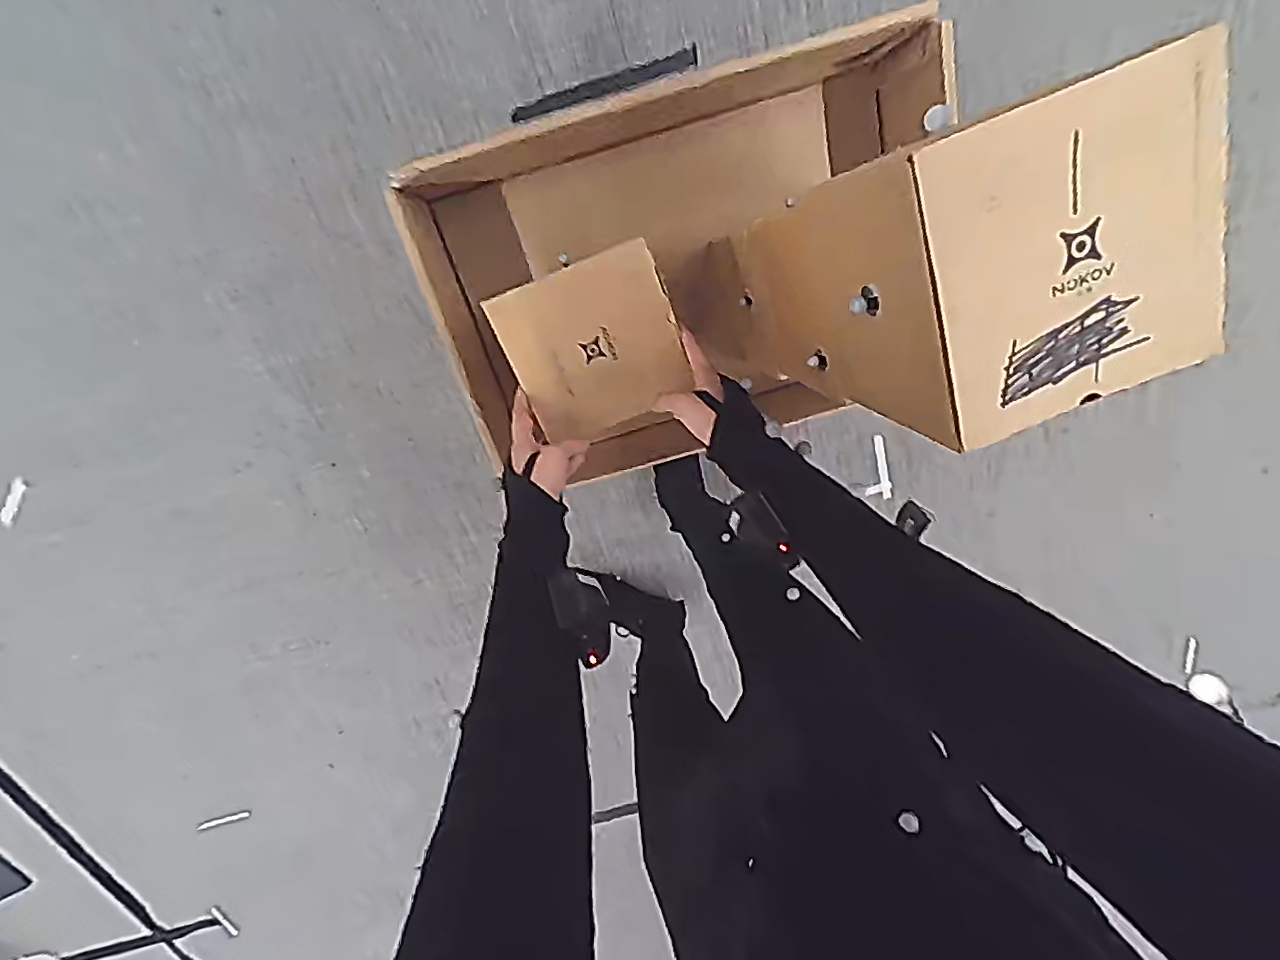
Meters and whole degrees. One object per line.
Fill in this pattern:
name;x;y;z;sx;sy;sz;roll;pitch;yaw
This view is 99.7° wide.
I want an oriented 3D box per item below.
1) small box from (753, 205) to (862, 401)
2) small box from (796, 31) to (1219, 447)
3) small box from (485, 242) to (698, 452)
small box;0.226;-0.199;0.534;0.168;0.176;0.179;-19;112;1
small box;0.231;-0.150;0.377;0.168;0.176;0.179;-22;111;2
small box;-0.055;-0.159;0.624;0.179;0.176;0.168;-22;111;1
